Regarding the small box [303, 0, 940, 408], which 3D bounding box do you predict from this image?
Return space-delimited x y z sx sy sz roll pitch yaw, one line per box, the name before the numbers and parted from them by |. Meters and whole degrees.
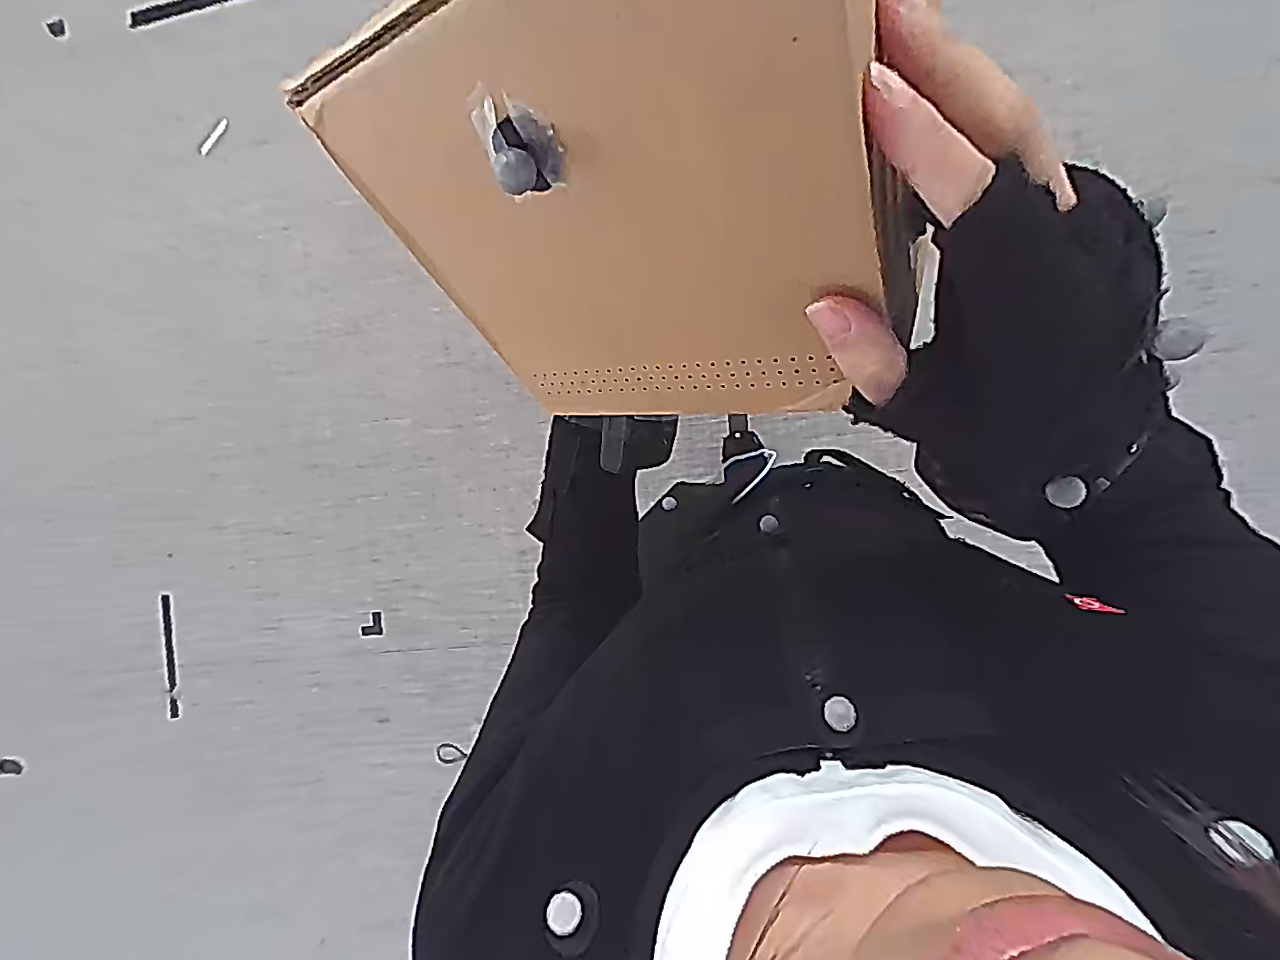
small box | 0.017 -0.143 0.229 0.179 0.176 0.168 4 59 33
